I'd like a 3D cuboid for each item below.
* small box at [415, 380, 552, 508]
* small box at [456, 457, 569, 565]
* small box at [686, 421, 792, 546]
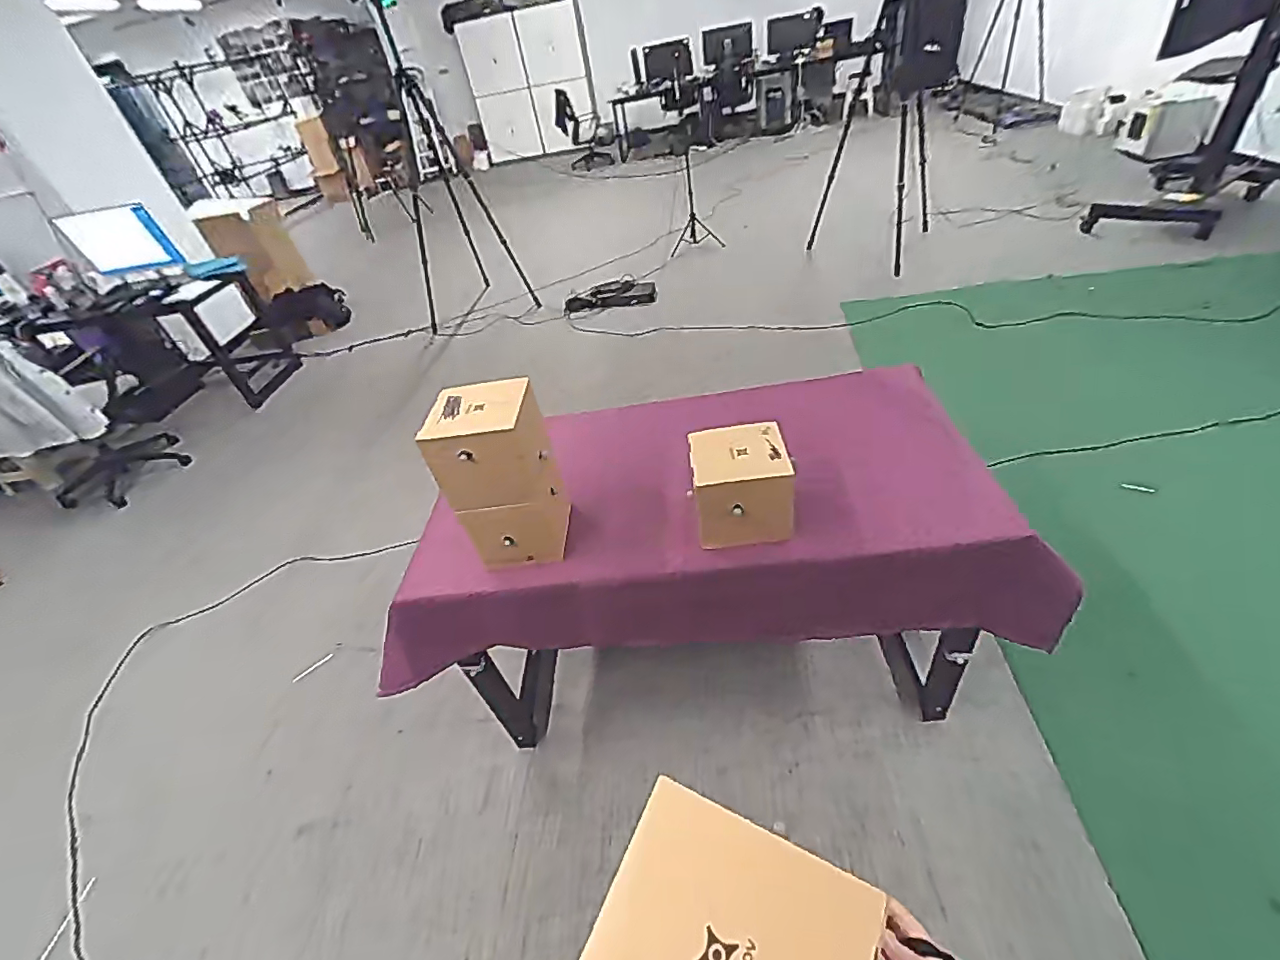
[{"bbox_3d":[-0.279,-0.063,1.004,0.179,0.176,0.168,-7,40,6],"label":"small box"},{"bbox_3d":[-0.250,0.060,1.110,0.168,0.176,0.179,-6,40,7],"label":"small box"},{"bbox_3d":[0.191,0.011,1.050,0.179,0.176,0.168,-8,40,7],"label":"small box"}]
